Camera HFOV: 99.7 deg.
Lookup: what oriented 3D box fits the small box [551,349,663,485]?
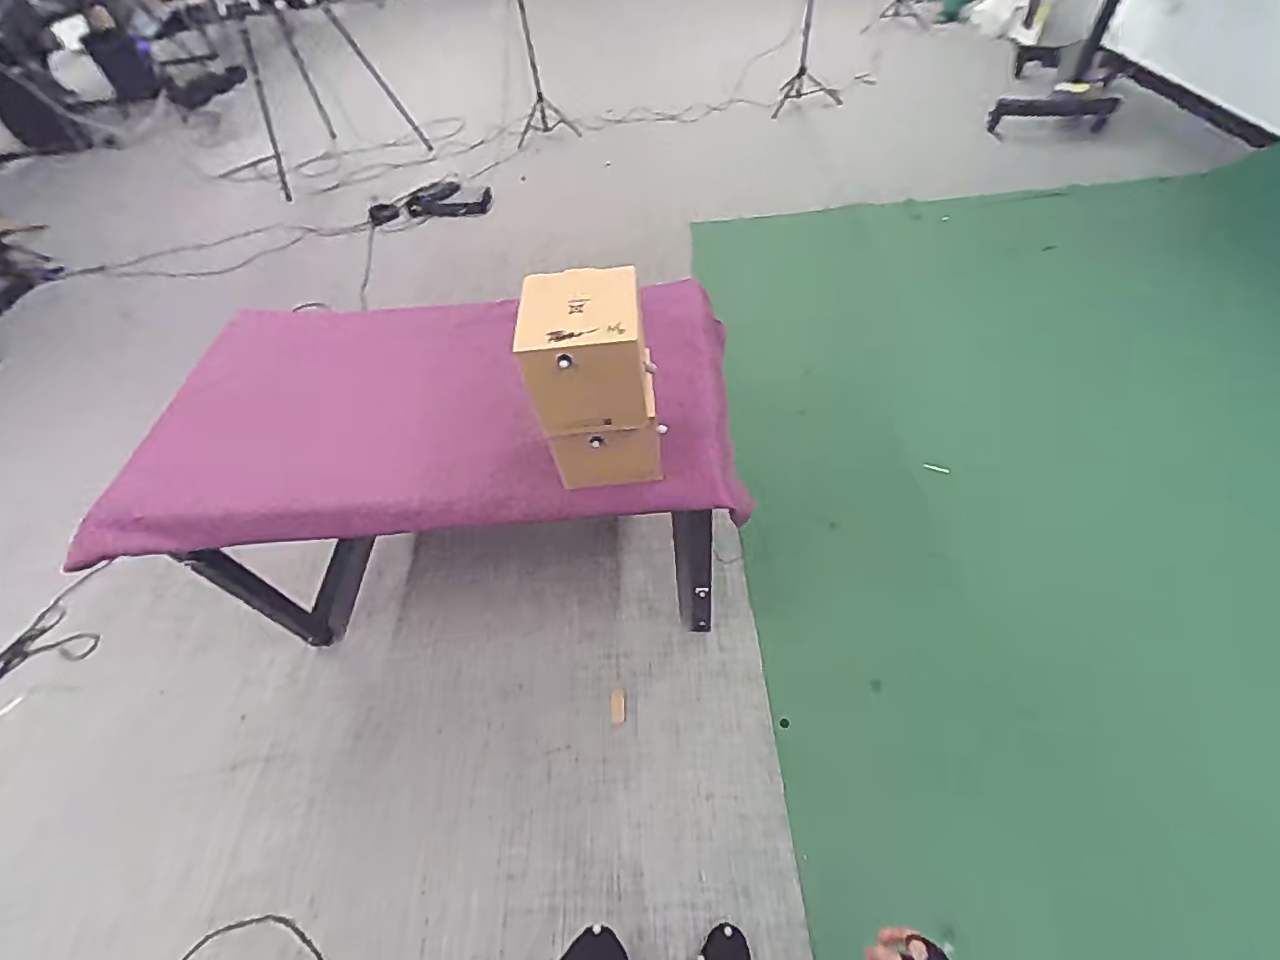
[{"bbox_3d":[-0.057,-0.104,0.952,0.179,0.176,0.168,-5,53,2],"label":"small box"}]

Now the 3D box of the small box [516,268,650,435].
[{"bbox_3d":[-0.075,-0.190,0.812,0.168,0.176,0.179,-5,52,4],"label":"small box"}]
